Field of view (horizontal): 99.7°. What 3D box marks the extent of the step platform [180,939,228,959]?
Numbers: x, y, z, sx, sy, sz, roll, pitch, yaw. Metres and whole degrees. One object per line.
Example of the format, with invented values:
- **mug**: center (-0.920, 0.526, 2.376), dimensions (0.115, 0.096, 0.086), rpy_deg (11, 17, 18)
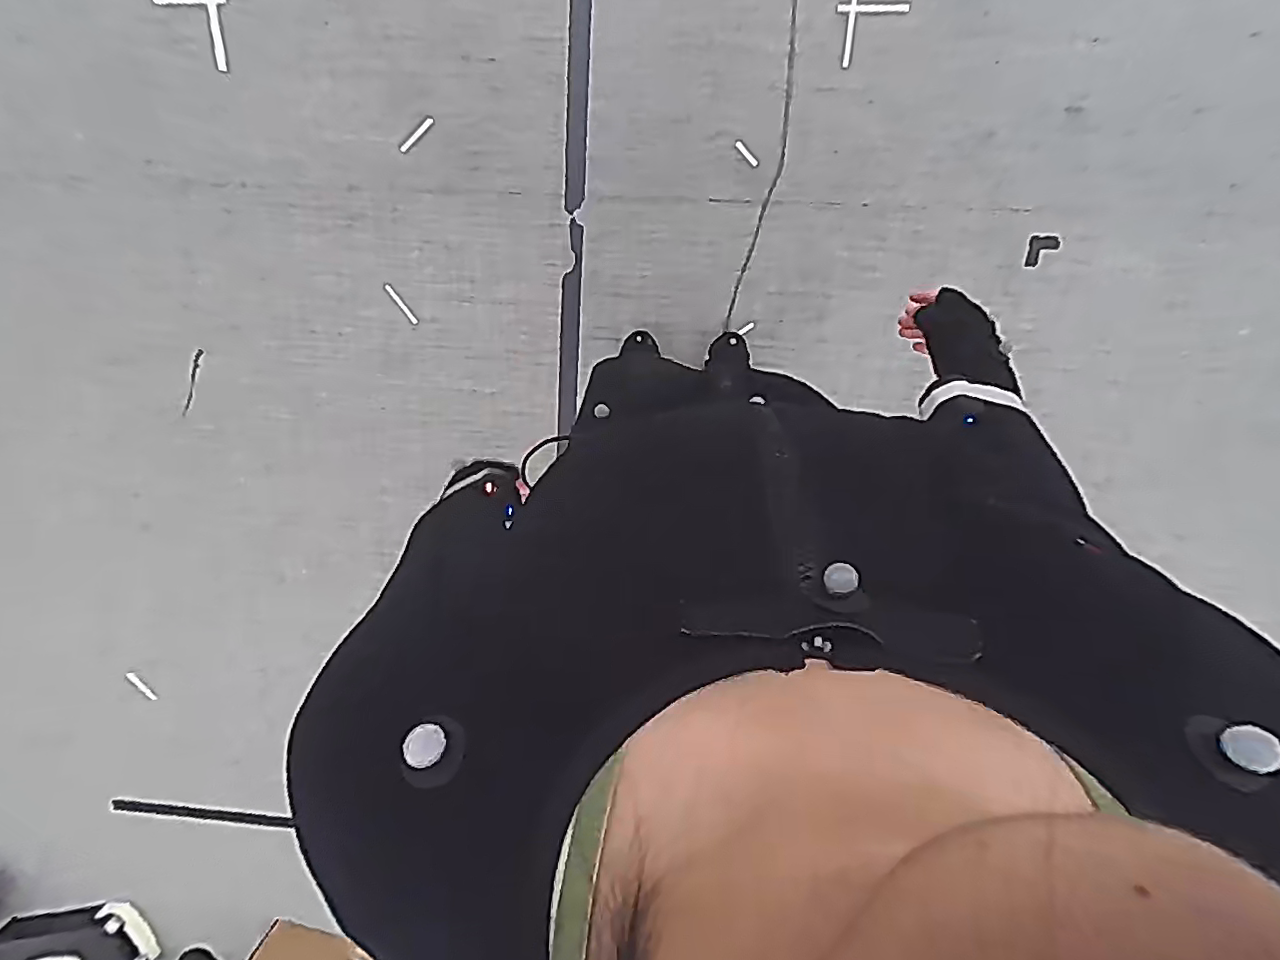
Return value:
- **step platform**: center (-1.933, 2.067, 2.119), dimensions (0.684, 0.204, 0.286), rpy_deg (-24, 103, 9)
